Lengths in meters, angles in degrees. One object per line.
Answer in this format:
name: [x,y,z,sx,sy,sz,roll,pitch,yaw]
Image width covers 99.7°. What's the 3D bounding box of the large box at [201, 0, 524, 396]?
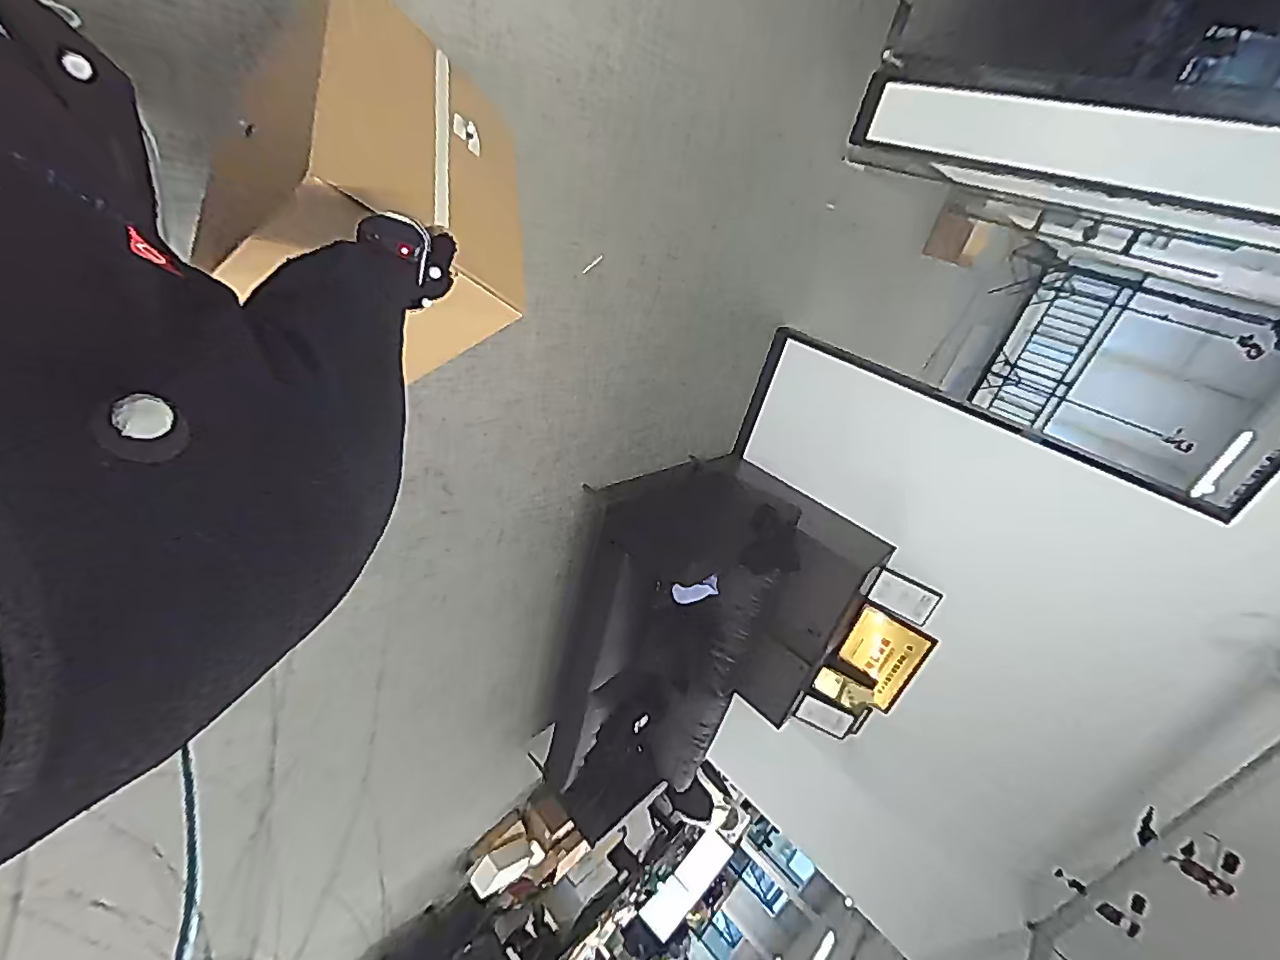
large box: [-0.409,-0.403,0.831,0.320,0.408,0.320,-20,156,27]
